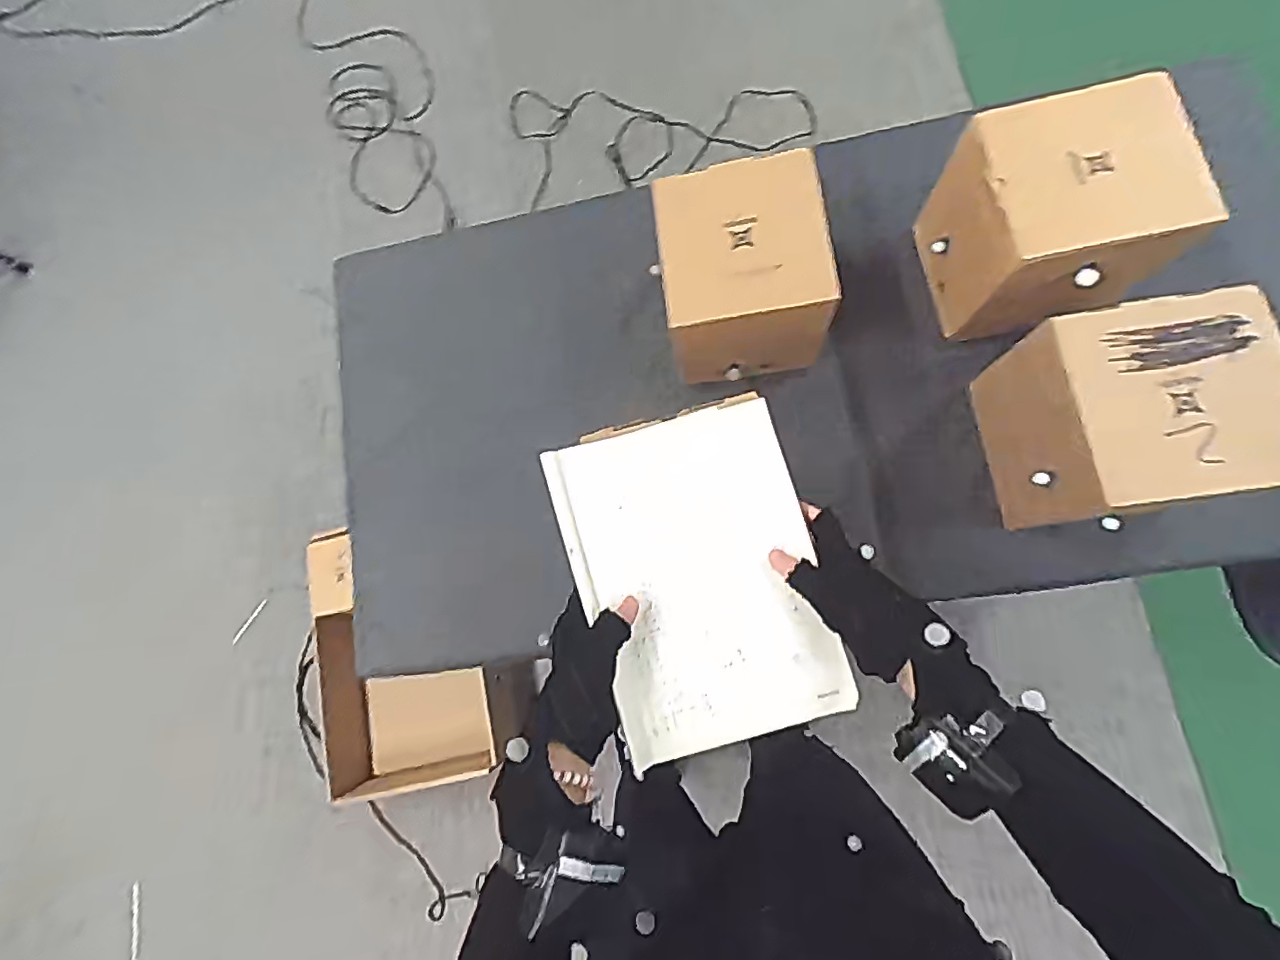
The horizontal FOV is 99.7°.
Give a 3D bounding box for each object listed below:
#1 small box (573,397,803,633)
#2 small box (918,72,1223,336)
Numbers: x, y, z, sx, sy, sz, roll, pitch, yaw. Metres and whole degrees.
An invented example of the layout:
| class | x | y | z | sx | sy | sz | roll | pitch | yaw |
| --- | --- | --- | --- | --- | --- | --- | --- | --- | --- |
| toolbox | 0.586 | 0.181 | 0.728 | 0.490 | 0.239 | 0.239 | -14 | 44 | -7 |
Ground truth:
| class | x | y | z | sx | sy | sz | roll | pitch | yaw |
| --- | --- | --- | --- | --- | --- | --- | --- | --- | --- |
| small box | 0.041 | 0.041 | 0.541 | 0.168 | 0.176 | 0.179 | -15 | 80 | 1 |
| small box | 0.433 | -0.277 | 0.580 | 0.179 | 0.176 | 0.168 | -10 | 77 | 8 |
